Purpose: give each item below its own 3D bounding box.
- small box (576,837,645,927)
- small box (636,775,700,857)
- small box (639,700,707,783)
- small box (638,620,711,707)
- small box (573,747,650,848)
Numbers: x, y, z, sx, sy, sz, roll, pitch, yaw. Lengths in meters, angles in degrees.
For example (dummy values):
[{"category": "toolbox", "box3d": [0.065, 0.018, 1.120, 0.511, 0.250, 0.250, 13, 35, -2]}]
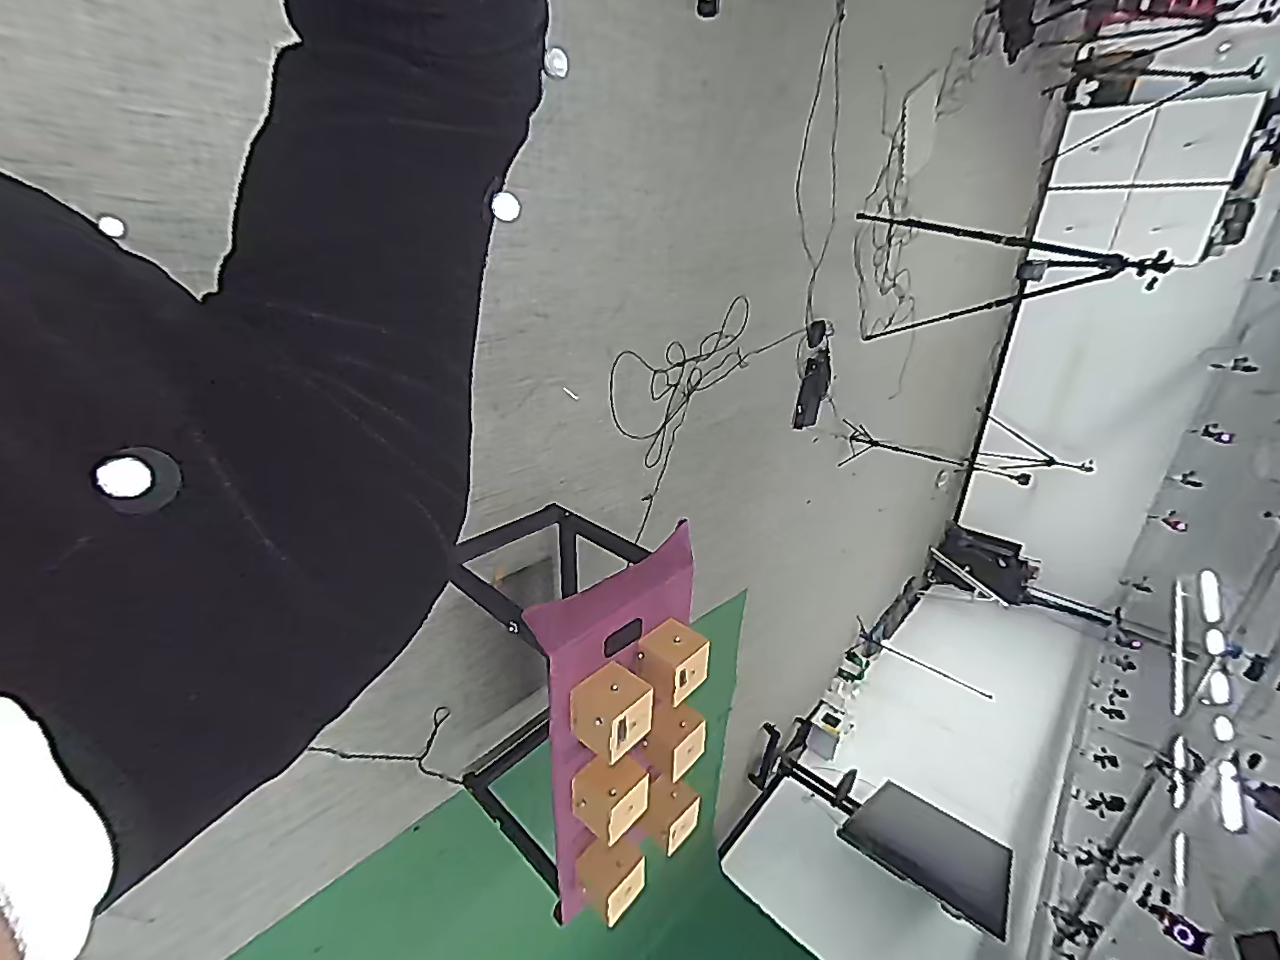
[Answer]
[{"category": "small box", "box3d": [-0.100, 1.354, 1.853, 0.179, 0.176, 0.168, -23, 122, -42]}, {"category": "small box", "box3d": [0.107, 1.270, 2.068, 0.179, 0.176, 0.168, -21, 121, -44]}, {"category": "small box", "box3d": [0.116, 0.912, 1.914, 0.179, 0.176, 0.168, -22, 122, -42]}, {"category": "small box", "box3d": [0.107, 0.587, 1.748, 0.179, 0.176, 0.168, -23, 124, -43]}, {"category": "small box", "box3d": [-0.091, 0.988, 1.701, 0.179, 0.176, 0.168, -21, 122, -44]}]
